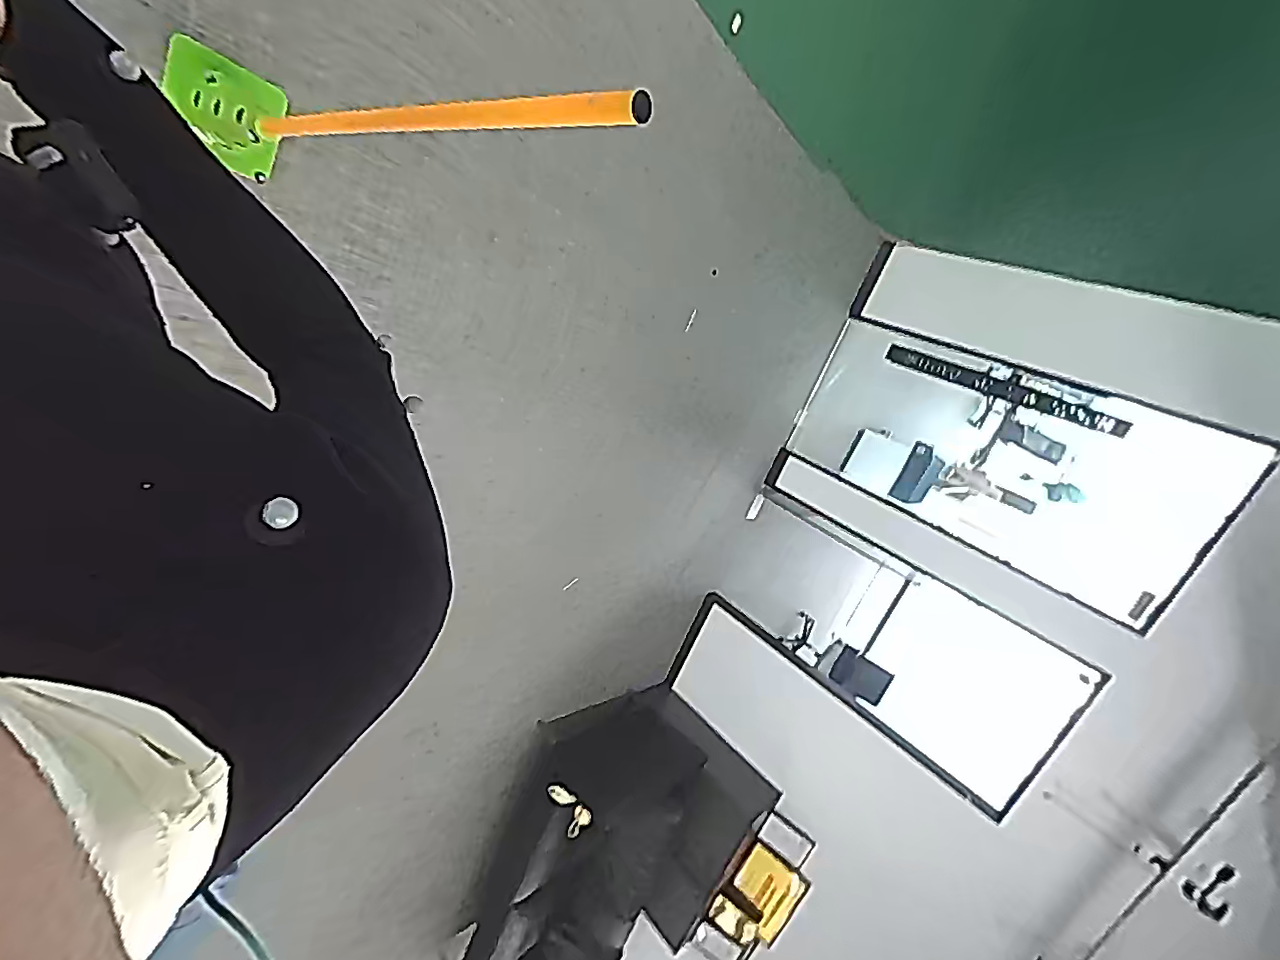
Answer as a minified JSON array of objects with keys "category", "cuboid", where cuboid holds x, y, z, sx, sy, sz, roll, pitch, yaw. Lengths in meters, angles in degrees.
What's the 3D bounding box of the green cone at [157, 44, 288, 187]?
[{"category":"green cone","cuboid":[-0.759,-0.681,1.036,0.202,0.368,0.200,7,111,-50]}]
